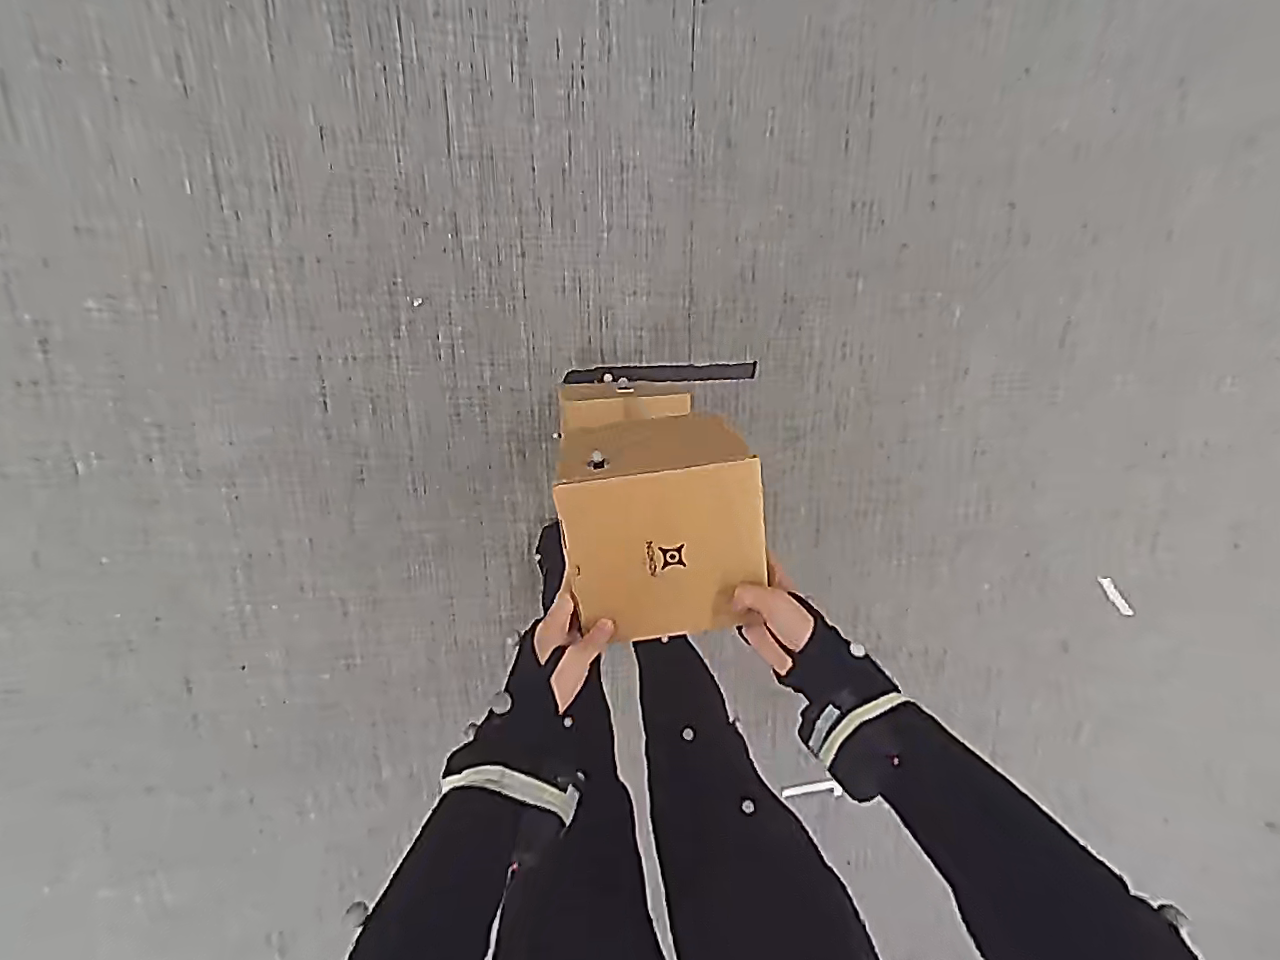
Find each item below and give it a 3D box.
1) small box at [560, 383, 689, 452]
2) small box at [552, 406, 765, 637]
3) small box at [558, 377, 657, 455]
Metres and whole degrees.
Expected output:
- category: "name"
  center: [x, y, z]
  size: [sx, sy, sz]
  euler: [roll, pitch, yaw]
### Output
- category: "small box"
  center: [-0.027, -0.045, 0.786]
  size: [0.168, 0.176, 0.179]
  euler: [-6, 104, -9]
- category: "small box"
  center: [0.017, 0.031, 0.552]
  size: [0.179, 0.176, 0.168]
  euler: [-9, 112, 1]
- category: "small box"
  center: [-0.055, -0.083, 0.941]
  size: [0.168, 0.176, 0.179]
  euler: [-5, 104, -8]
